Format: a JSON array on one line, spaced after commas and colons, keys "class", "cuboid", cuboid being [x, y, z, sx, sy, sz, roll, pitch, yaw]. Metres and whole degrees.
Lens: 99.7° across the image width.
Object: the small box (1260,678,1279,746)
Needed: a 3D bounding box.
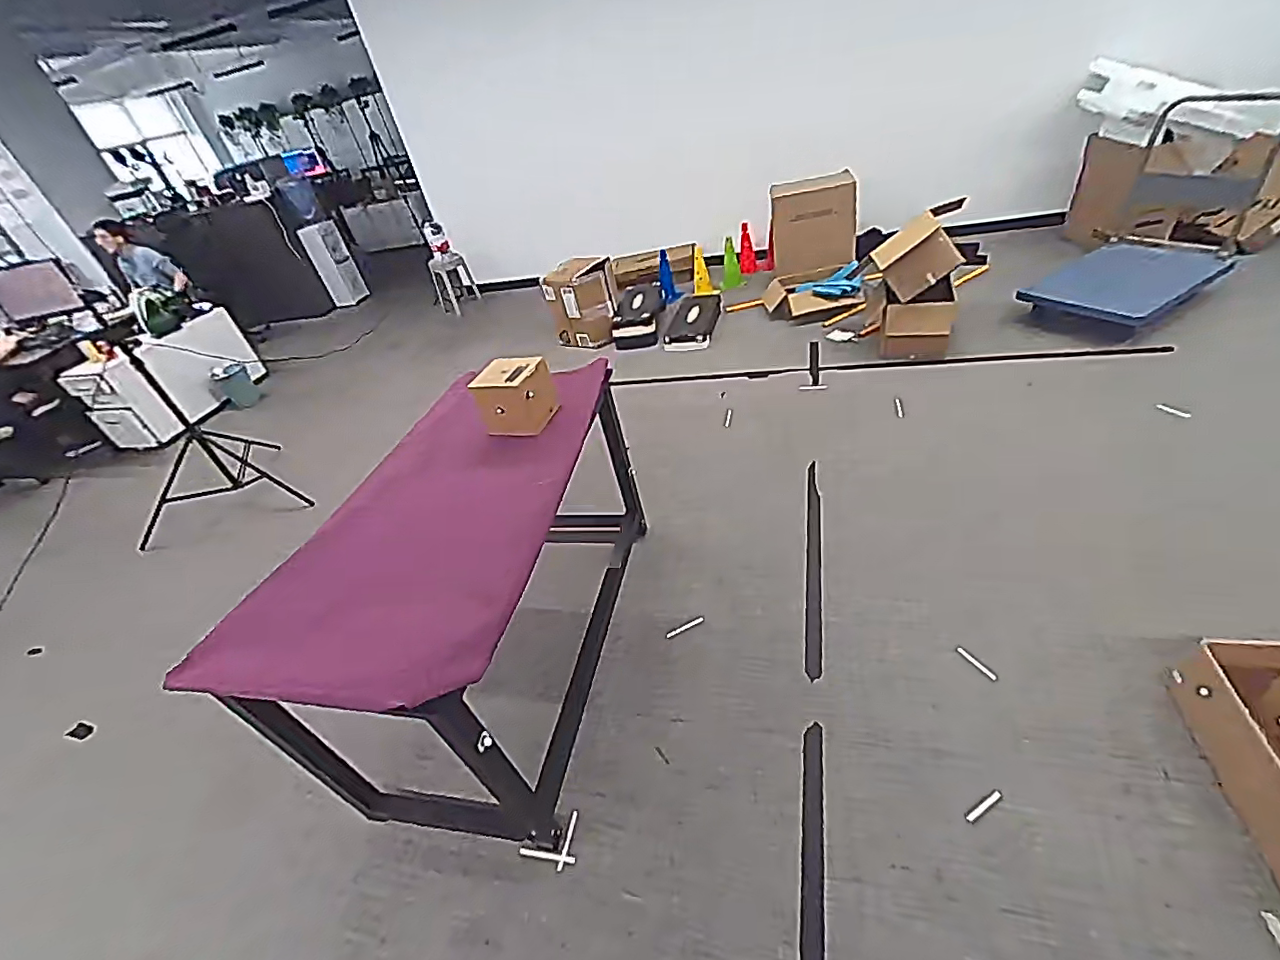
[{"class": "small box", "cuboid": [1.512, 0.535, 1.162, 0.179, 0.176, 0.168, -2, 41, 15]}]
